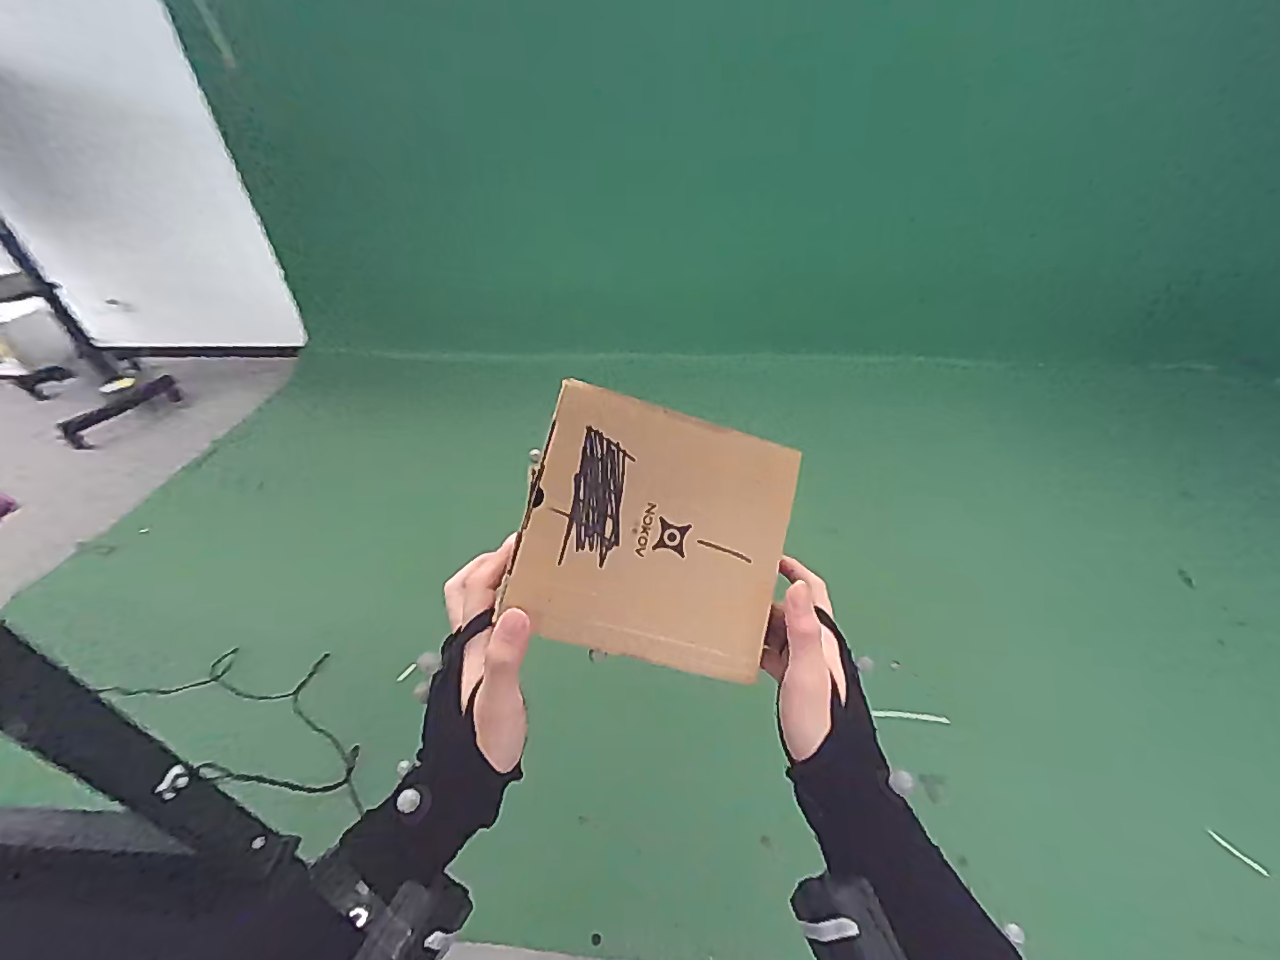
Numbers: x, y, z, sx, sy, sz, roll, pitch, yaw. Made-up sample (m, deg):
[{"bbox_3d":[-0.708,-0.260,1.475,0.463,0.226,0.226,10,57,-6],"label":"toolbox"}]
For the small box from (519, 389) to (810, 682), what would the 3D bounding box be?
[{"bbox_3d":[0.007,0.048,0.449,0.179,0.176,0.168,18,79,-11],"label":"small box"}]
